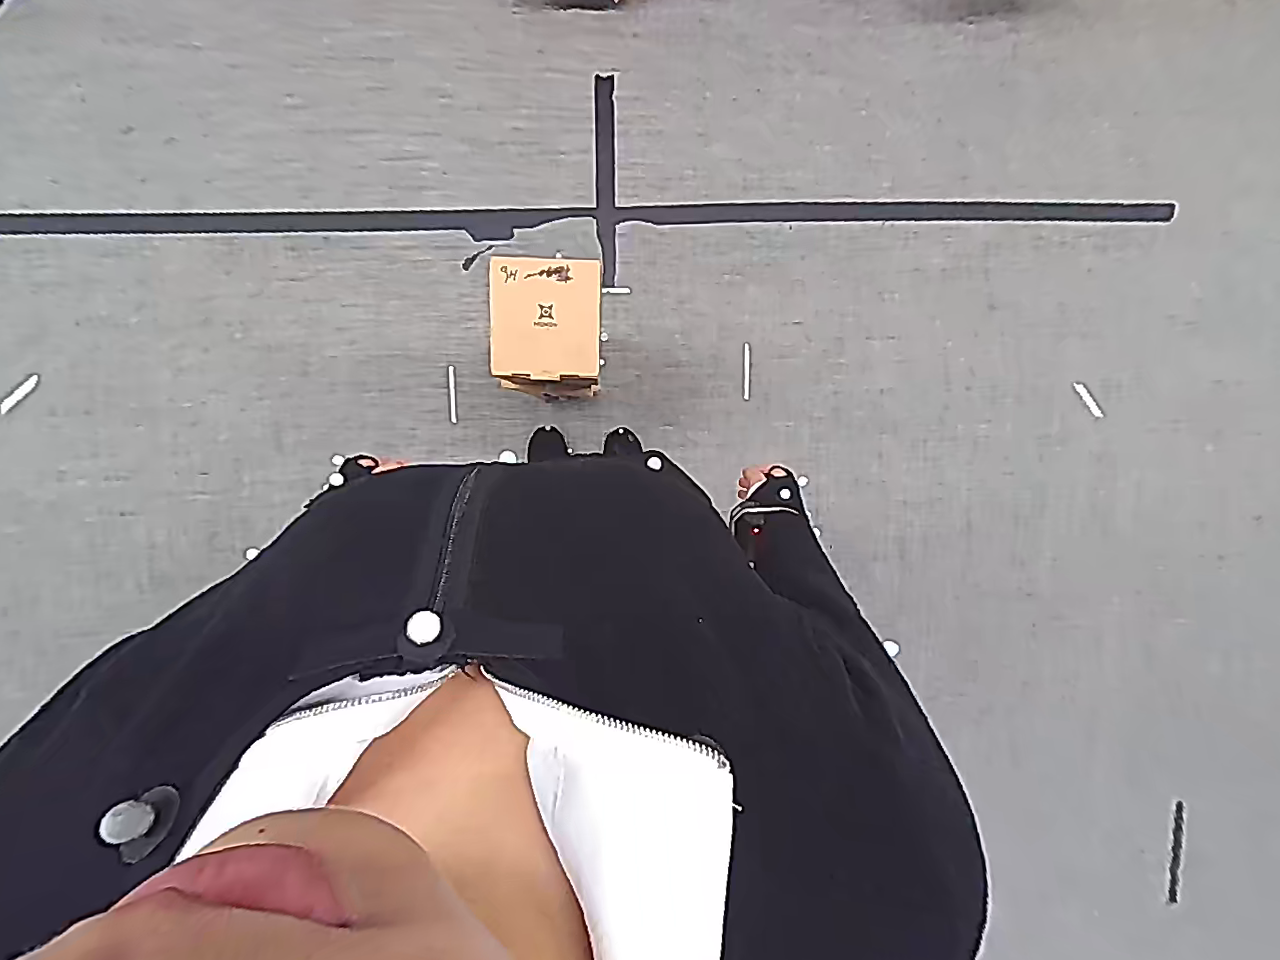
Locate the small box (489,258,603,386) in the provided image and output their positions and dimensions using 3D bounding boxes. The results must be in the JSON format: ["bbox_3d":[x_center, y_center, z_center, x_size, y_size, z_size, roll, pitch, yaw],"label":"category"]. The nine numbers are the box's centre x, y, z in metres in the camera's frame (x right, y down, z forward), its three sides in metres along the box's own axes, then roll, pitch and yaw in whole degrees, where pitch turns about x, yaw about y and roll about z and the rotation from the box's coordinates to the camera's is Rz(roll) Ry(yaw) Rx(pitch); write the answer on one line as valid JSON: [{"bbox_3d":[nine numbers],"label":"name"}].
[{"bbox_3d":[-0.146,-0.247,0.883,0.168,0.176,0.179,1,97,-4],"label":"small box"}]

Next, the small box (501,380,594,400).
[{"bbox_3d":[-0.168,-0.251,1.047,0.168,0.176,0.179,4,97,-4],"label":"small box"}]
